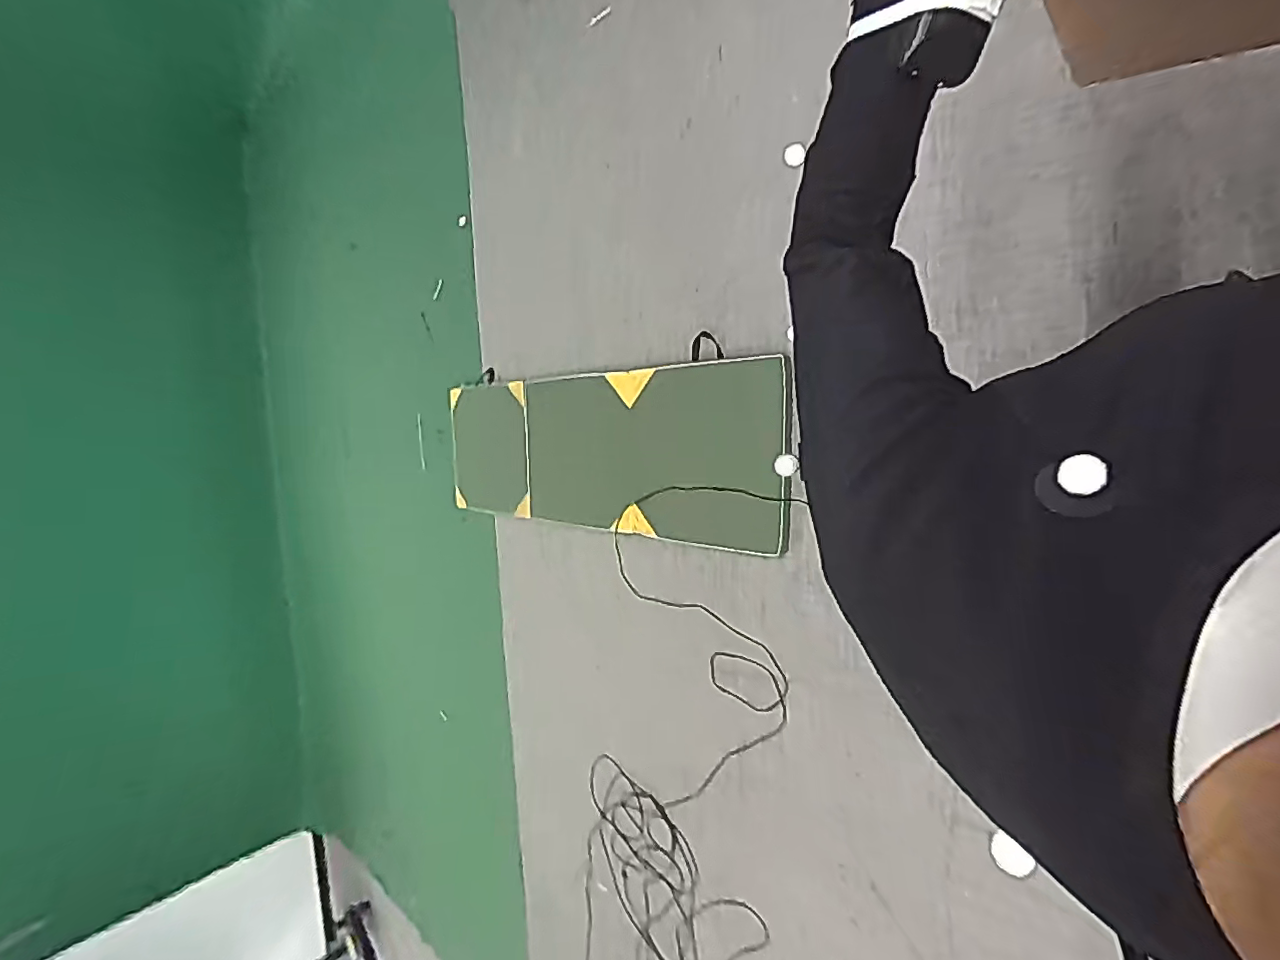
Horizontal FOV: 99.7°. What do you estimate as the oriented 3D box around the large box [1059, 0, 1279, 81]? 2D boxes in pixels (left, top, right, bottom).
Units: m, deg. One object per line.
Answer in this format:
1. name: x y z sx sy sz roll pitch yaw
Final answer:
1. large box: 0.475 -0.471 0.262 0.408 0.320 0.320 11 113 39
